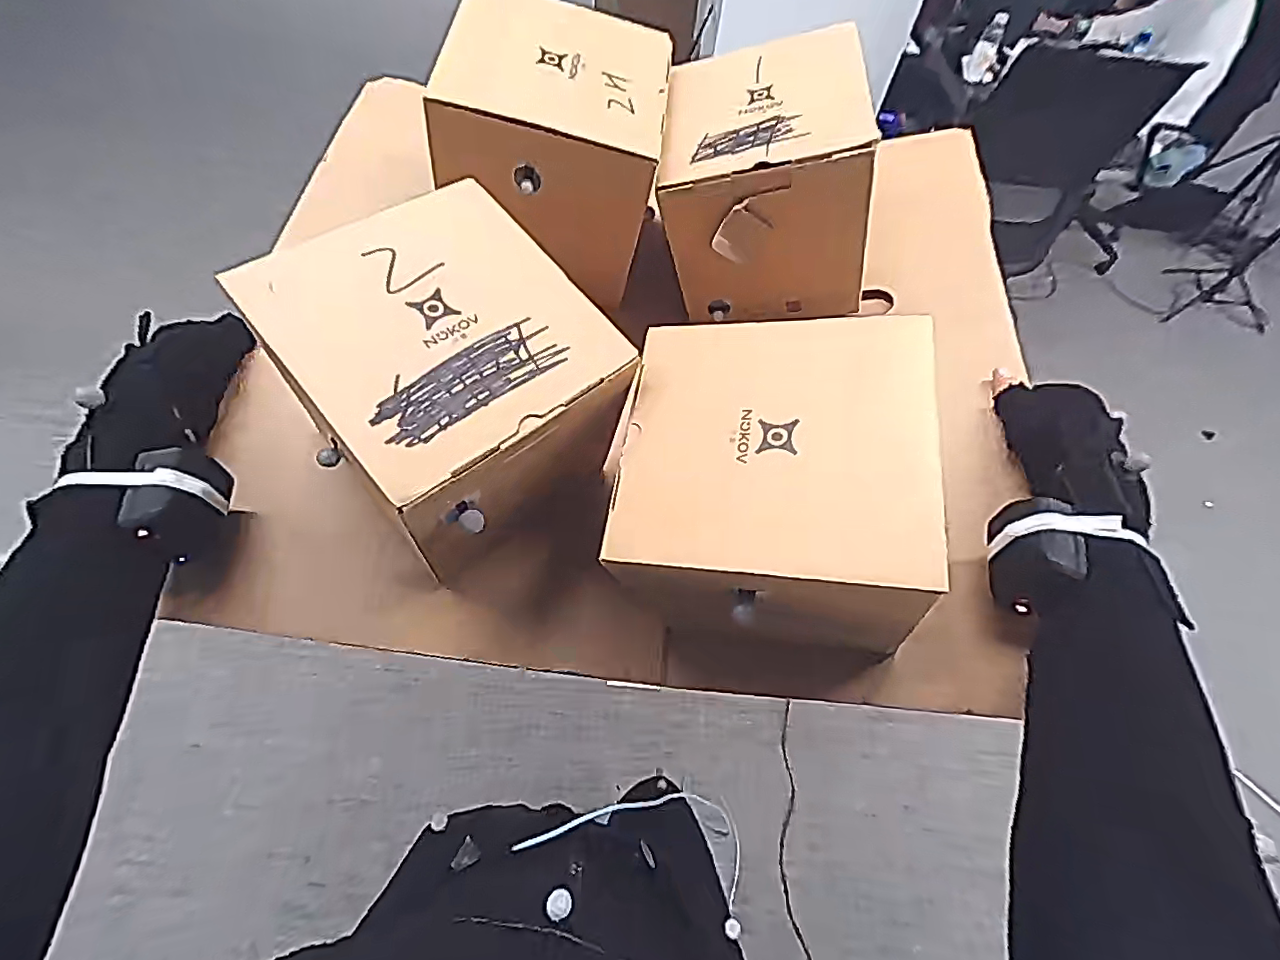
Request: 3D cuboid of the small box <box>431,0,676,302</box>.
[{"bbox_3d":[-0.077,-0.295,0.507,0.179,0.176,0.168,11,65,-9],"label":"small box"}]
